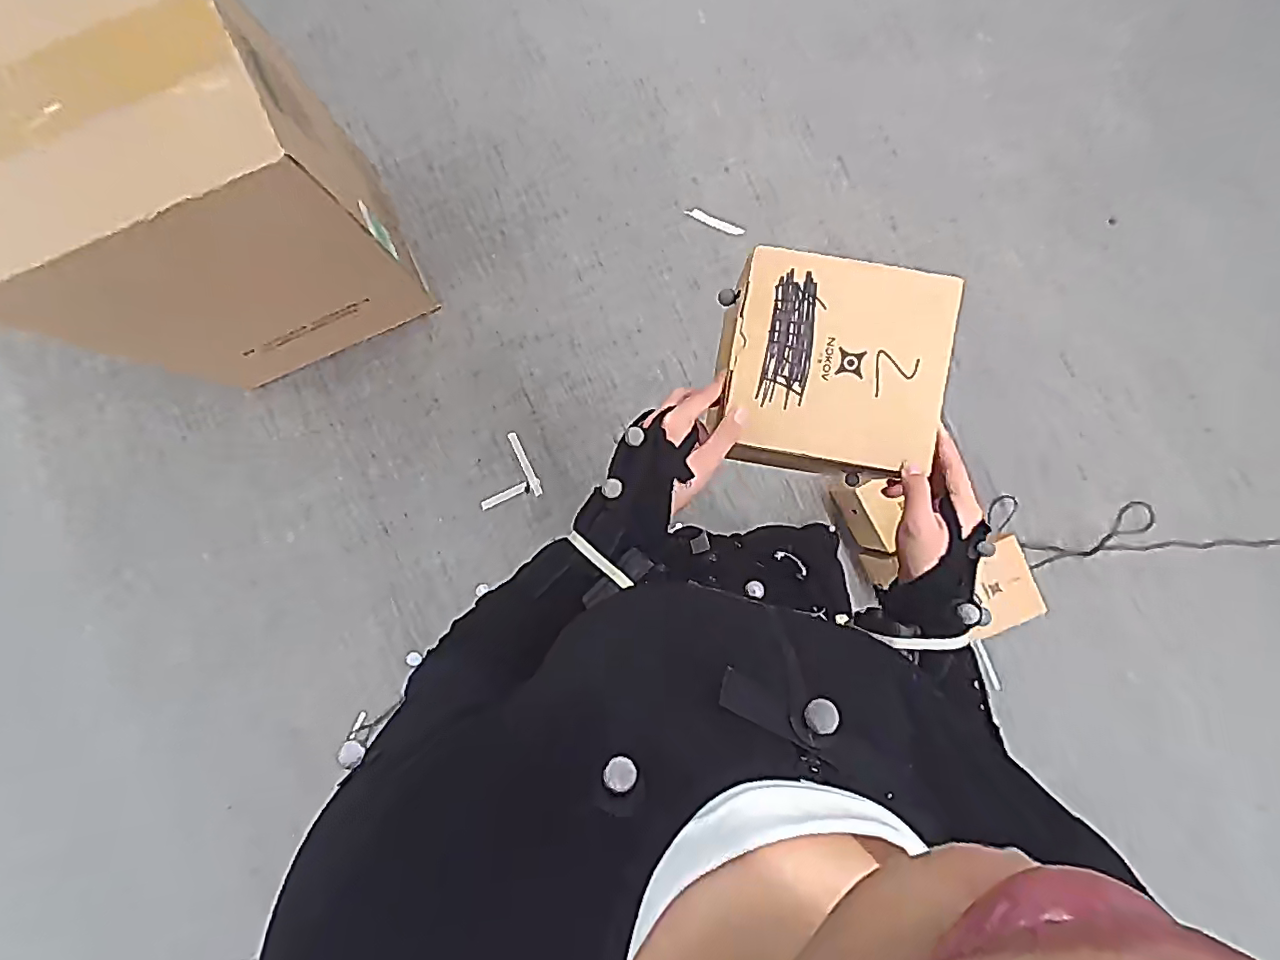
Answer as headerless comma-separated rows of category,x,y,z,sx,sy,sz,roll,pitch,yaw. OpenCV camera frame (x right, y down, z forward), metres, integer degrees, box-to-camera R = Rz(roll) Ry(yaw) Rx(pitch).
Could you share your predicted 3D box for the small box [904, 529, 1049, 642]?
small box,0.680,0.211,1.121,0.179,0.176,0.168,-22,90,-2
